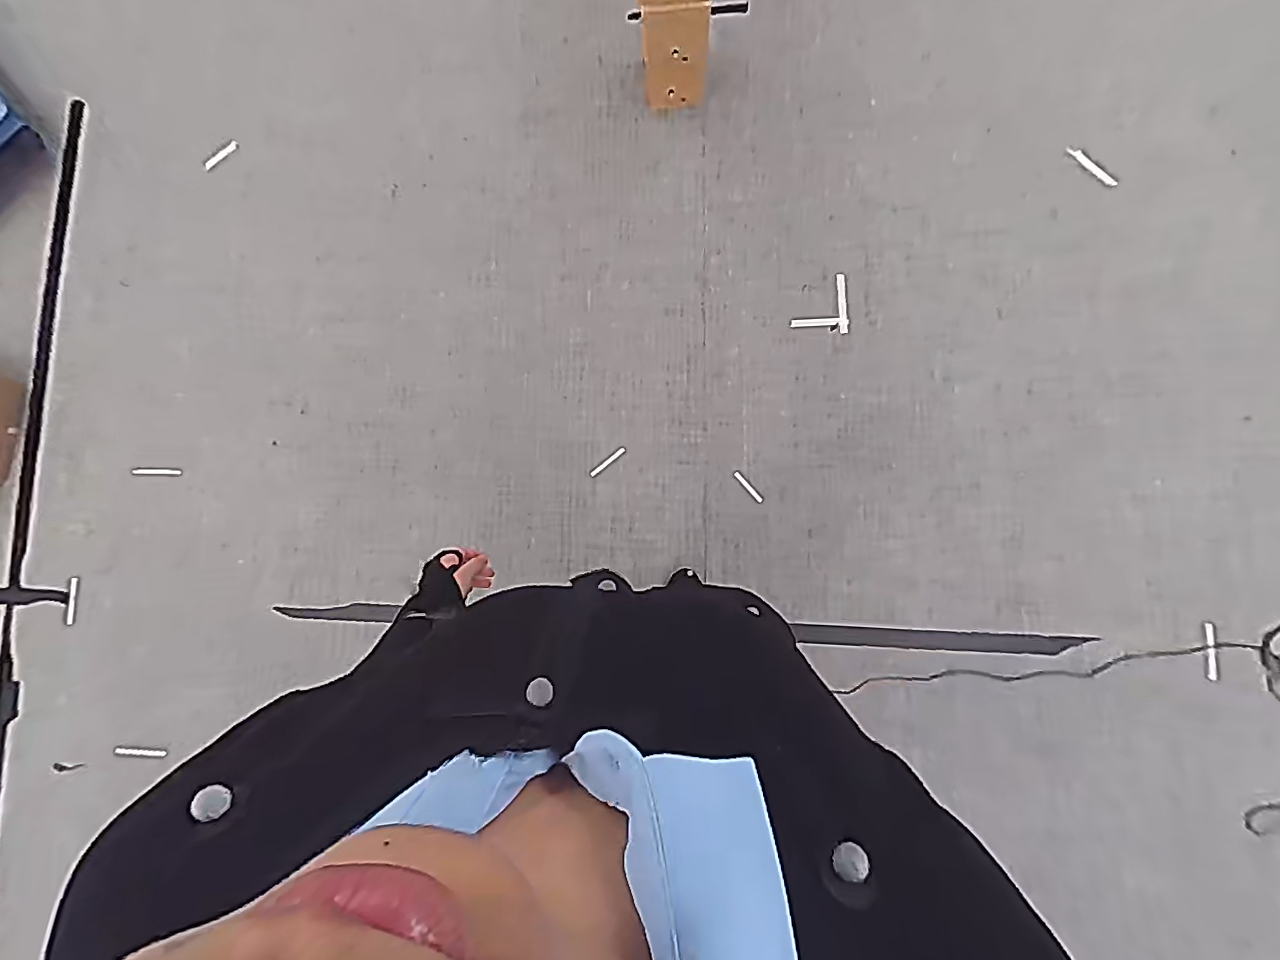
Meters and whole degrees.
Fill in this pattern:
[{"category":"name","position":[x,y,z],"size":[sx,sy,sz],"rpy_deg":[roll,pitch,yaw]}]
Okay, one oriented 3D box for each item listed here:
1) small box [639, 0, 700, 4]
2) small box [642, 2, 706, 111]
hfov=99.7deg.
[{"category":"small box","position":[0.073,-1.225,1.218],"size":[0.179,0.176,0.168],"rpy_deg":[0,85,4]},{"category":"small box","position":[0.096,-1.204,1.546],"size":[0.168,0.176,0.179],"rpy_deg":[-5,84,4]}]
